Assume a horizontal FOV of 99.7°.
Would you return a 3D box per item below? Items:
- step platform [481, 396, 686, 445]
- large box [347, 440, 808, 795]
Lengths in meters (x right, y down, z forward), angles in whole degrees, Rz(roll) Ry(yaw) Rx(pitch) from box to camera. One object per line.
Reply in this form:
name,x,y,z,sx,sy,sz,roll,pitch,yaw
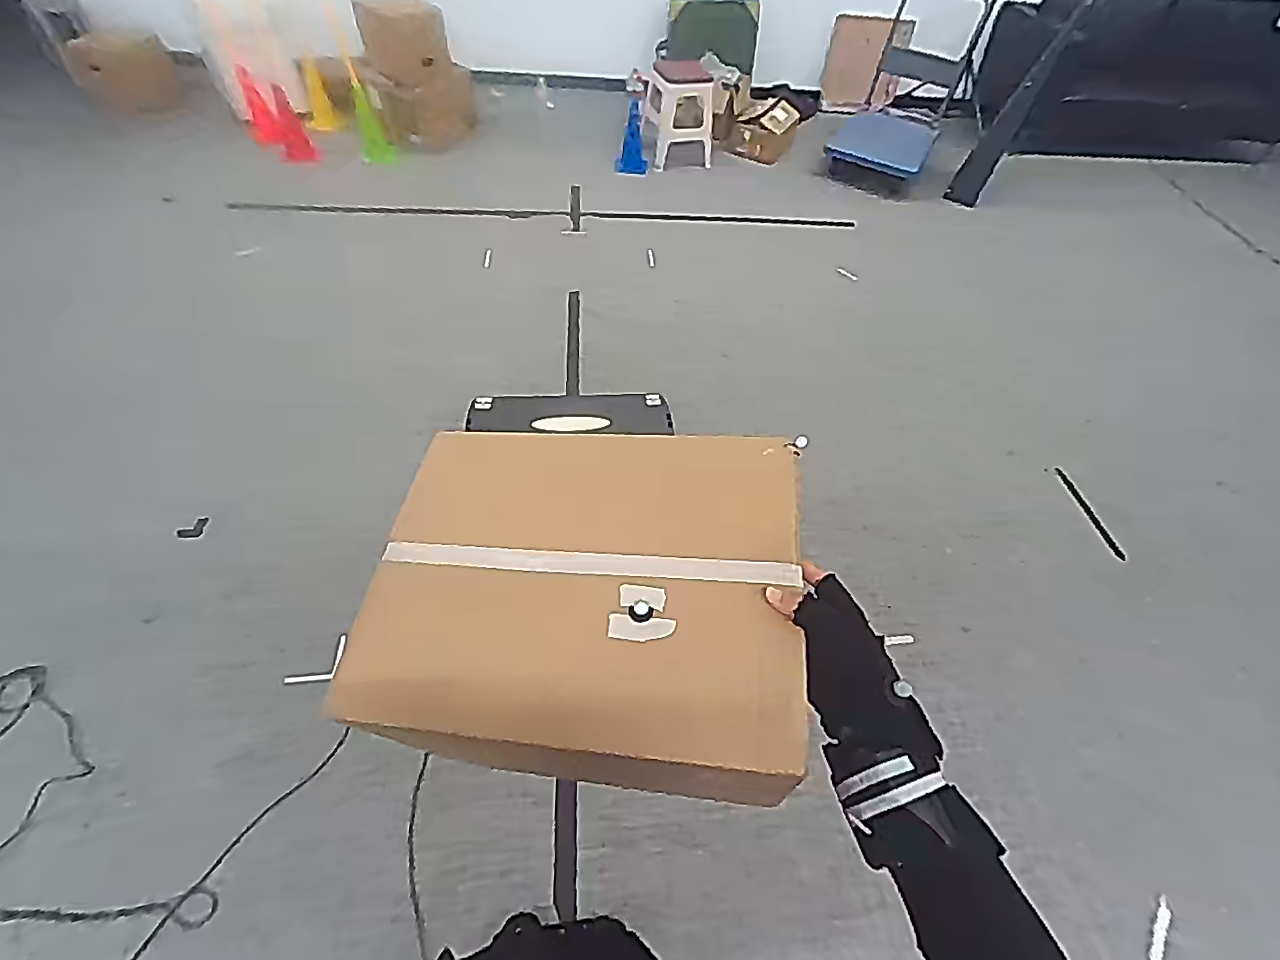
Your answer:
step platform,-0.186,-0.125,1.835,0.684,0.204,0.286,-2,53,-8
large box,-0.033,0.168,0.650,0.408,0.320,0.320,2,57,10
